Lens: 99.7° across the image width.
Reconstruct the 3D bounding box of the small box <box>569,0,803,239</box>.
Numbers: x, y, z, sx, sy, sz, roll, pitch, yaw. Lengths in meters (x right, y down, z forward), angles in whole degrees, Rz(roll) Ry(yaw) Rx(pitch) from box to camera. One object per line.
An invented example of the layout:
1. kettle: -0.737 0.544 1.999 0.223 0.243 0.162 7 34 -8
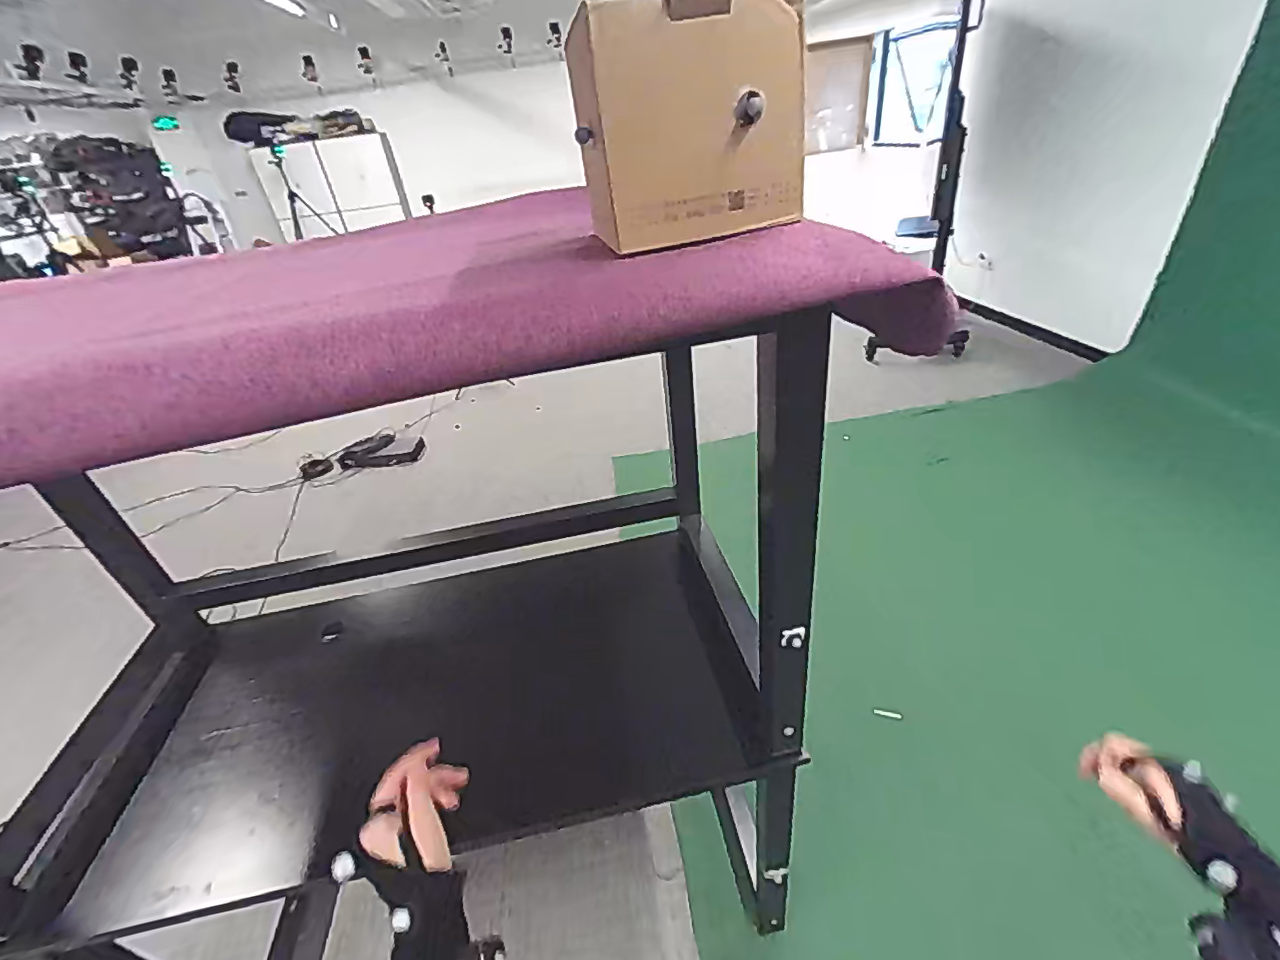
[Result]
1. small box: 0.038 -0.321 0.483 0.168 0.176 0.179 -12 31 -6
